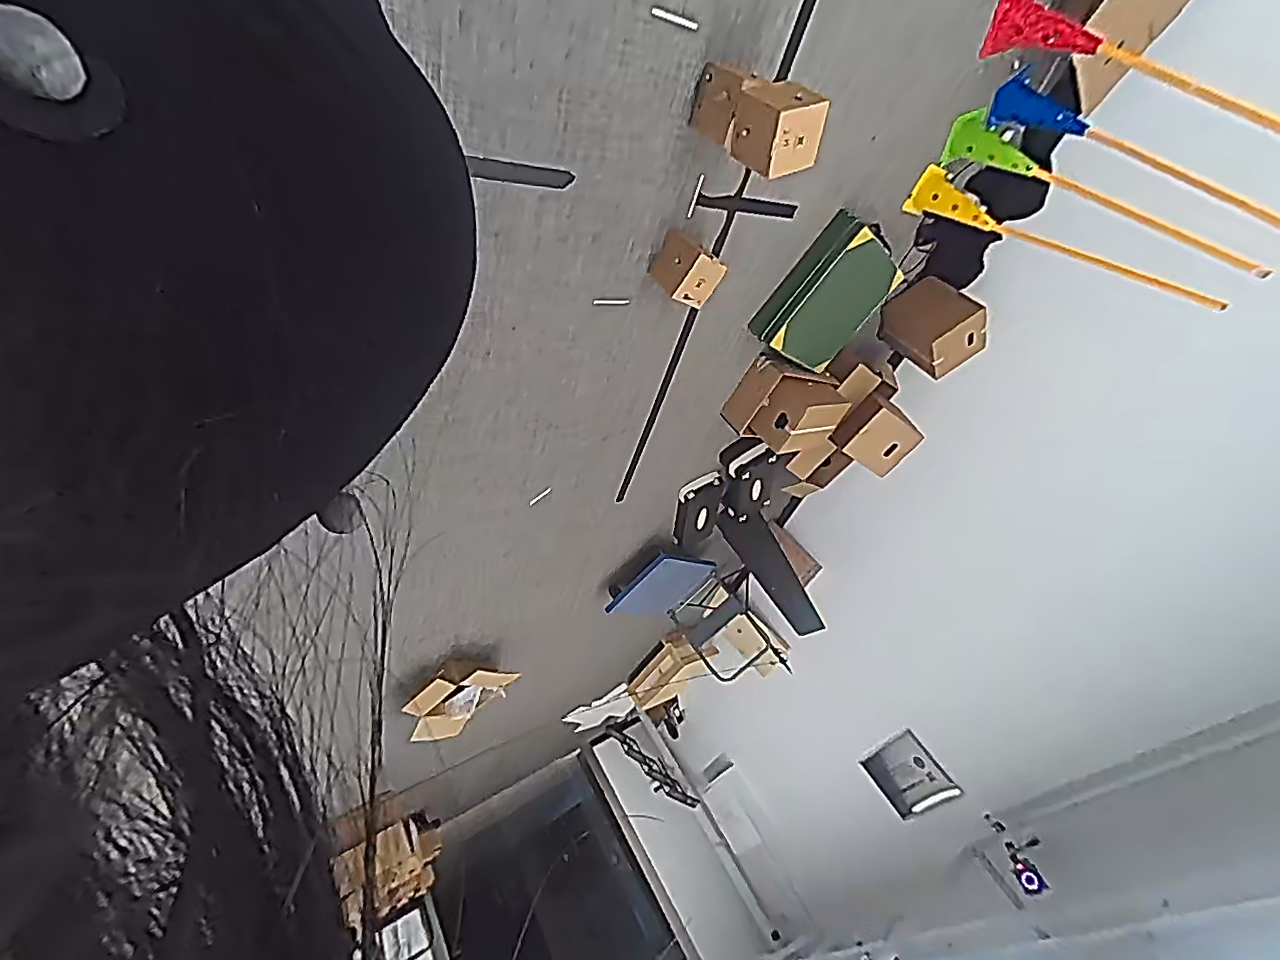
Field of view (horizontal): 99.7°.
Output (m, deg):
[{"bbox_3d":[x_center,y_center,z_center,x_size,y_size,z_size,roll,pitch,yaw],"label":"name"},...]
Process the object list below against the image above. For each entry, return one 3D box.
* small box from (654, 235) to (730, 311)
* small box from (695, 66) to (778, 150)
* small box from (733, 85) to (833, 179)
[{"bbox_3d":[0.178,-0.731,1.906,0.168,0.176,0.179,-1,136,-46],"label":"small box"},{"bbox_3d":[0.286,-1.063,1.557,0.179,0.176,0.168,-17,144,-33],"label":"small box"},{"bbox_3d":[0.383,-0.955,1.478,0.179,0.176,0.168,-22,145,-21],"label":"small box"}]
